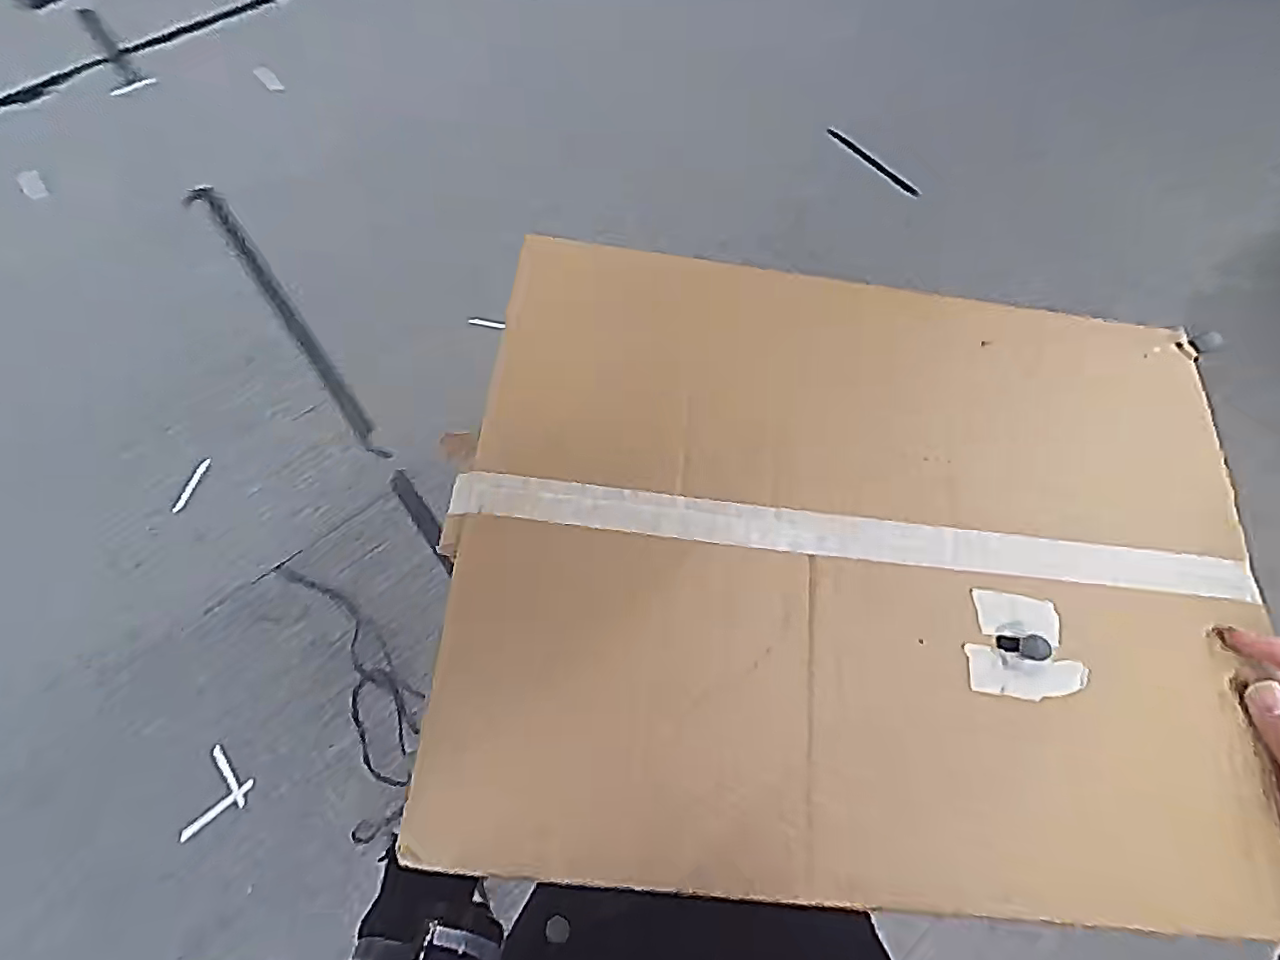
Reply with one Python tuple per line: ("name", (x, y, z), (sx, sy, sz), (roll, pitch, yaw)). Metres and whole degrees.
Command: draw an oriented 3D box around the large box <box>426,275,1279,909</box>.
("large box", (0.098, 0.086, 0.425), (0.408, 0.320, 0.320), (6, 72, -4))
